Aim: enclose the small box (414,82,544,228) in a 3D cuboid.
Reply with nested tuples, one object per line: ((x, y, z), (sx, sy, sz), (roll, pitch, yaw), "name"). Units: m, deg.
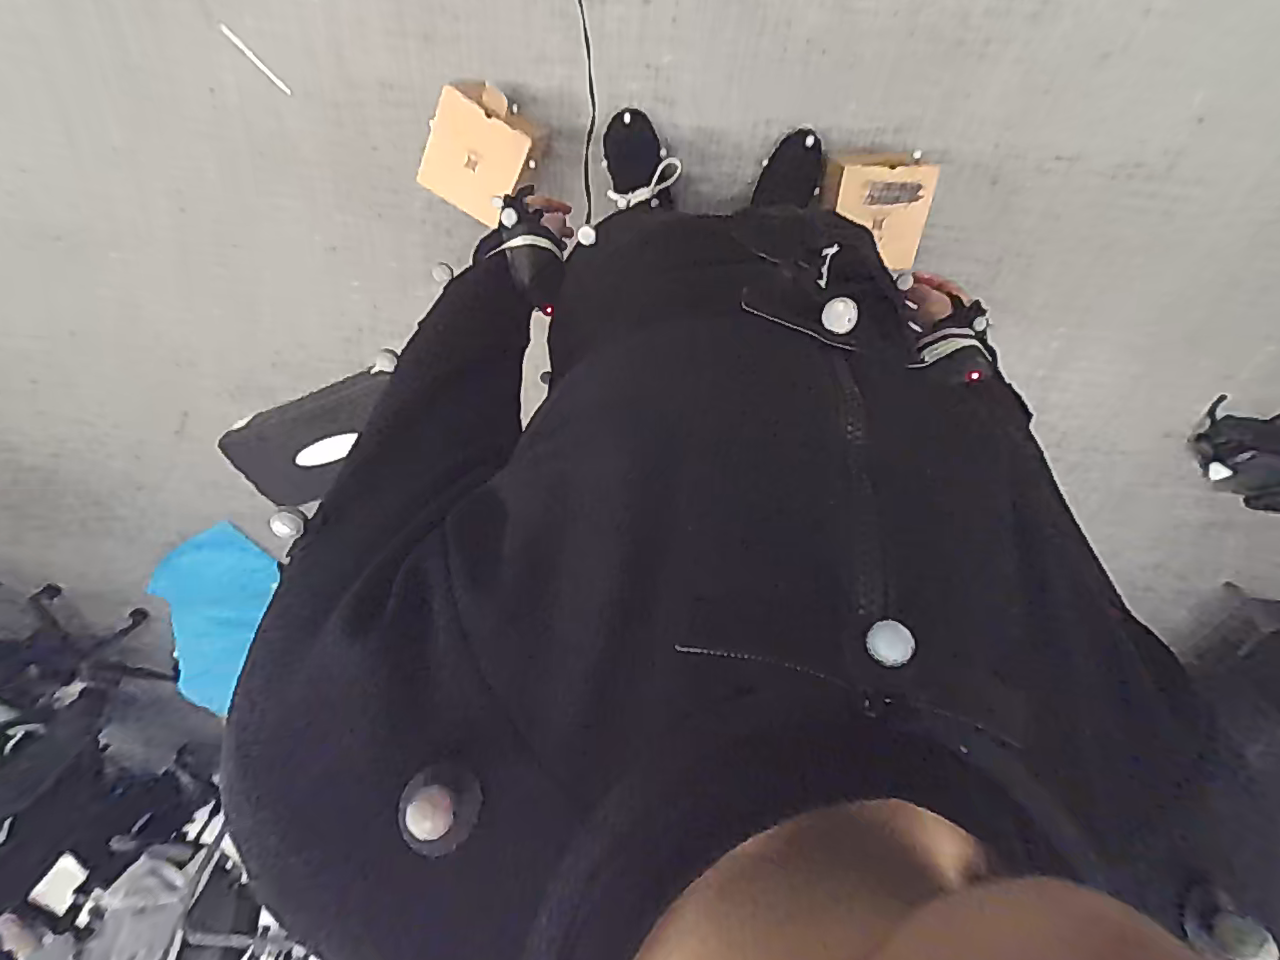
((-0.301, -0.623, 1.036), (0.168, 0.176, 0.179), (27, 124, -15), "small box")
